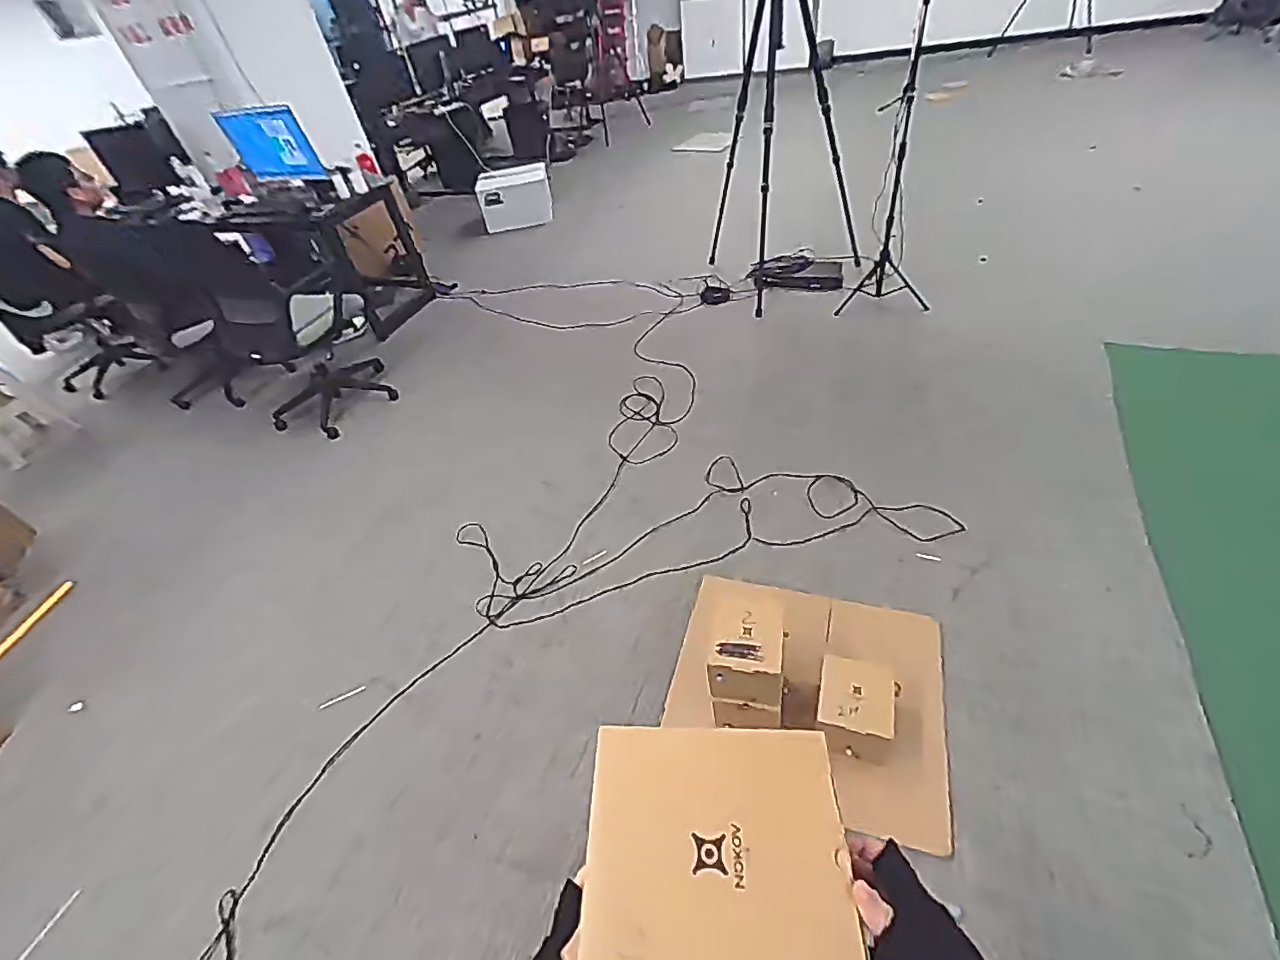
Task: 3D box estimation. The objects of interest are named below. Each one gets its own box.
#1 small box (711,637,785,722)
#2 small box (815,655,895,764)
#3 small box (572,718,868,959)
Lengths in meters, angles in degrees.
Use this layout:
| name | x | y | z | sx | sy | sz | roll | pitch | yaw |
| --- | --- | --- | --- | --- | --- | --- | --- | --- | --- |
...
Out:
| name | x | y | z | sx | sy | sz | roll | pitch | yaw |
| --- | --- | --- | --- | --- | --- | --- | --- | --- | --- |
| small box | 0.285 | 0.538 | 1.404 | 0.168 | 0.176 | 0.179 | 4 | 45 | 16 |
| small box | 0.524 | 0.563 | 1.329 | 0.168 | 0.176 | 0.179 | 6 | 47 | 20 |
| small box | 0.054 | 0.301 | 0.414 | 0.179 | 0.176 | 0.168 | 0 | 44 | 3 |
